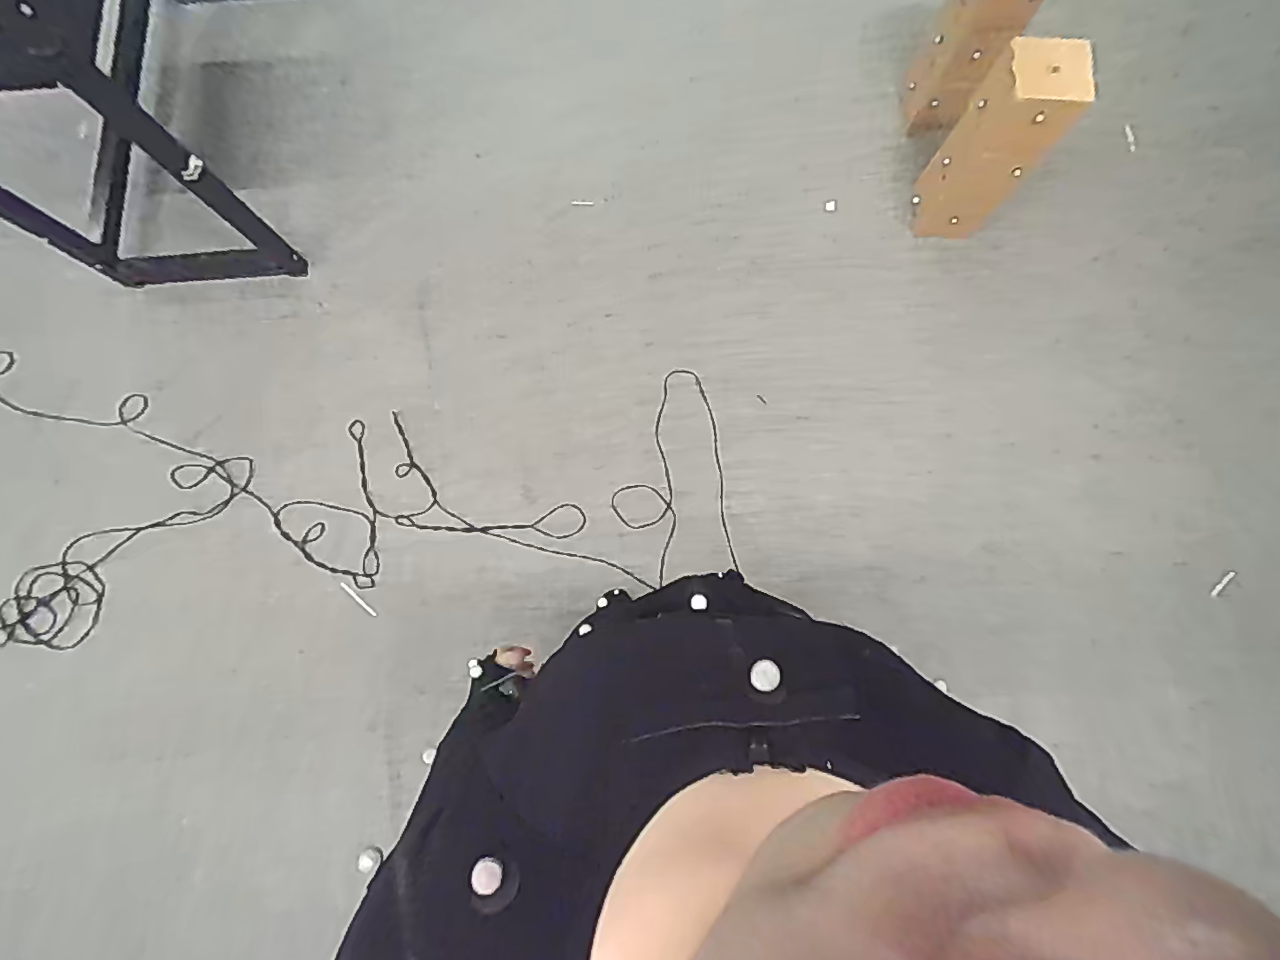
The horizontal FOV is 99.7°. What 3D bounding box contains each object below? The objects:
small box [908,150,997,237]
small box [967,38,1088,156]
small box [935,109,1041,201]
[{"bbox_3d":[0.935,-0.856,1.628,0.179,0.176,0.168,3,80,2],"label":"small box"},{"bbox_3d":[0.927,-0.916,1.307,0.179,0.176,0.168,3,80,2],"label":"small box"},{"bbox_3d":[0.935,-0.883,1.466,0.179,0.176,0.168,1,79,1],"label":"small box"}]
